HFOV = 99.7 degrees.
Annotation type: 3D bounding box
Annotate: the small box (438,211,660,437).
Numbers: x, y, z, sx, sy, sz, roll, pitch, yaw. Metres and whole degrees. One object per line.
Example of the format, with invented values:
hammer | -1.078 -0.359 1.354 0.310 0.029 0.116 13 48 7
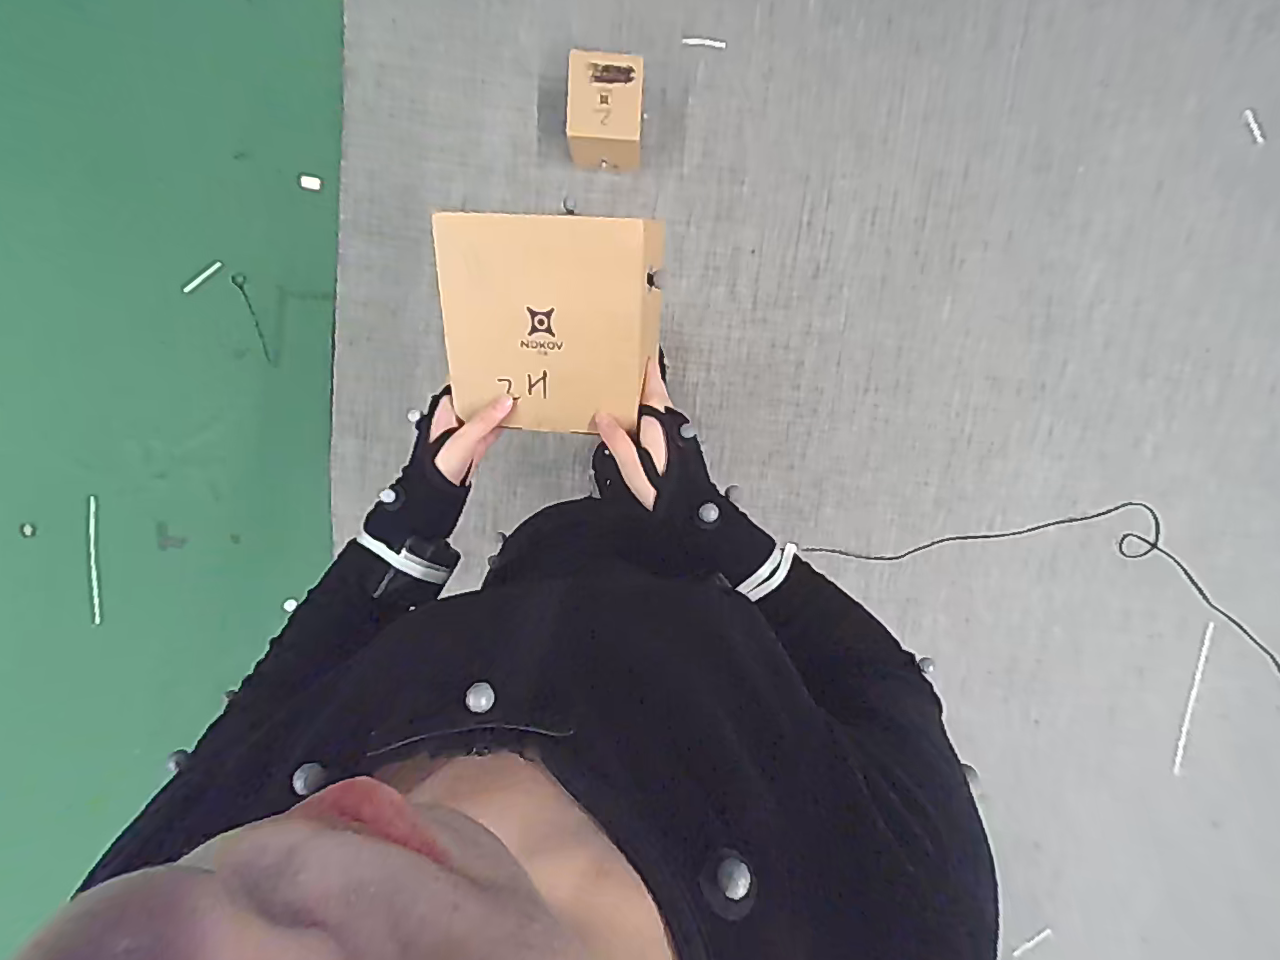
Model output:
small box | -0.073 -0.156 0.523 0.168 0.176 0.179 6 115 6
